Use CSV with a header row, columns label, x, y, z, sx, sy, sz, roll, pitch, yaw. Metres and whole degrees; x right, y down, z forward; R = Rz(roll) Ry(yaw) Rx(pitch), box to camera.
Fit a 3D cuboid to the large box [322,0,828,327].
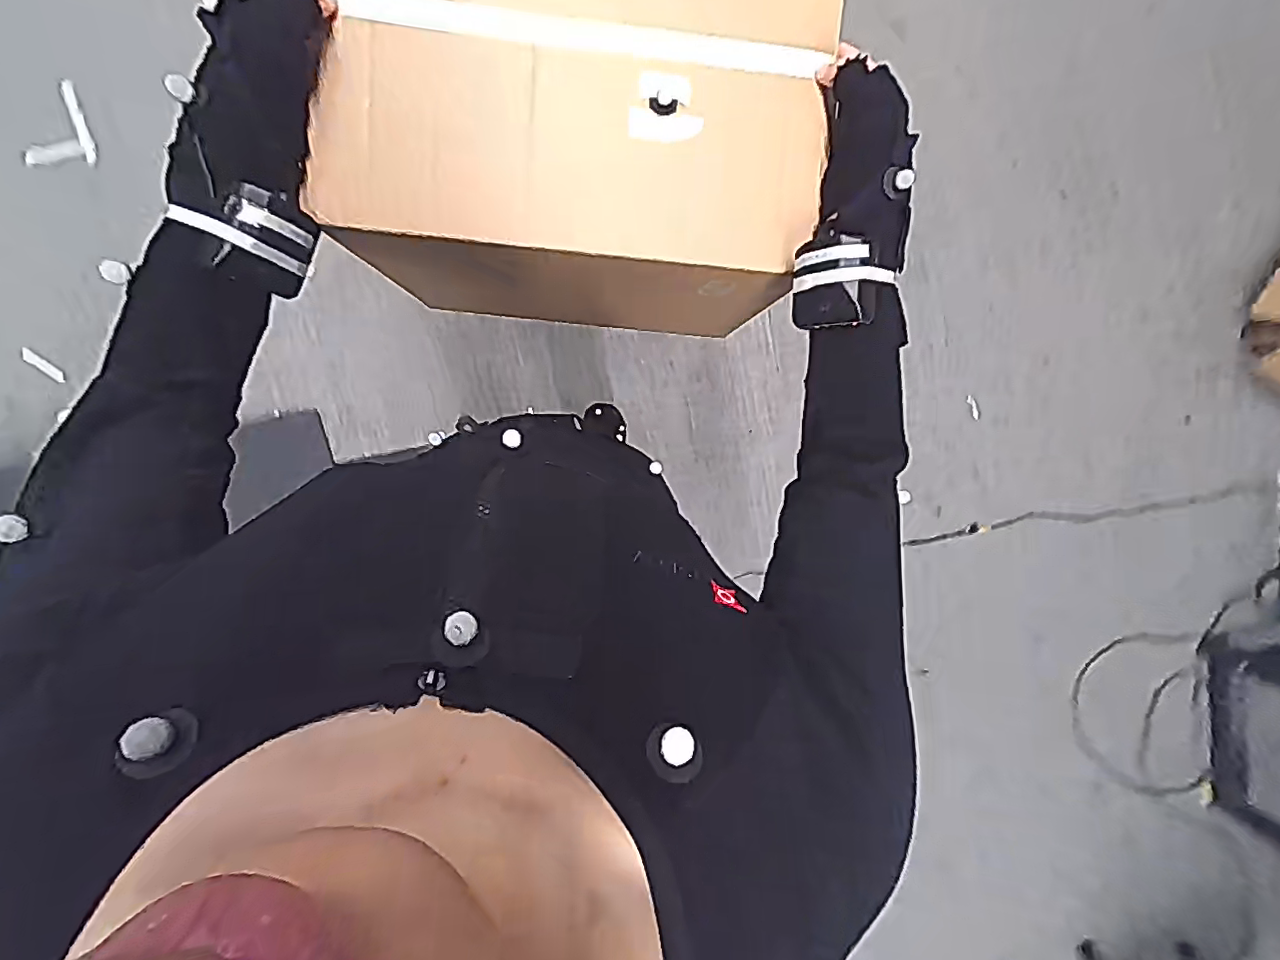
label,x,y,z,sx,sy,sz,roll,pitch,yaw
large box,-0.060,-0.358,0.578,0.408,0.320,0.320,3,95,-5
